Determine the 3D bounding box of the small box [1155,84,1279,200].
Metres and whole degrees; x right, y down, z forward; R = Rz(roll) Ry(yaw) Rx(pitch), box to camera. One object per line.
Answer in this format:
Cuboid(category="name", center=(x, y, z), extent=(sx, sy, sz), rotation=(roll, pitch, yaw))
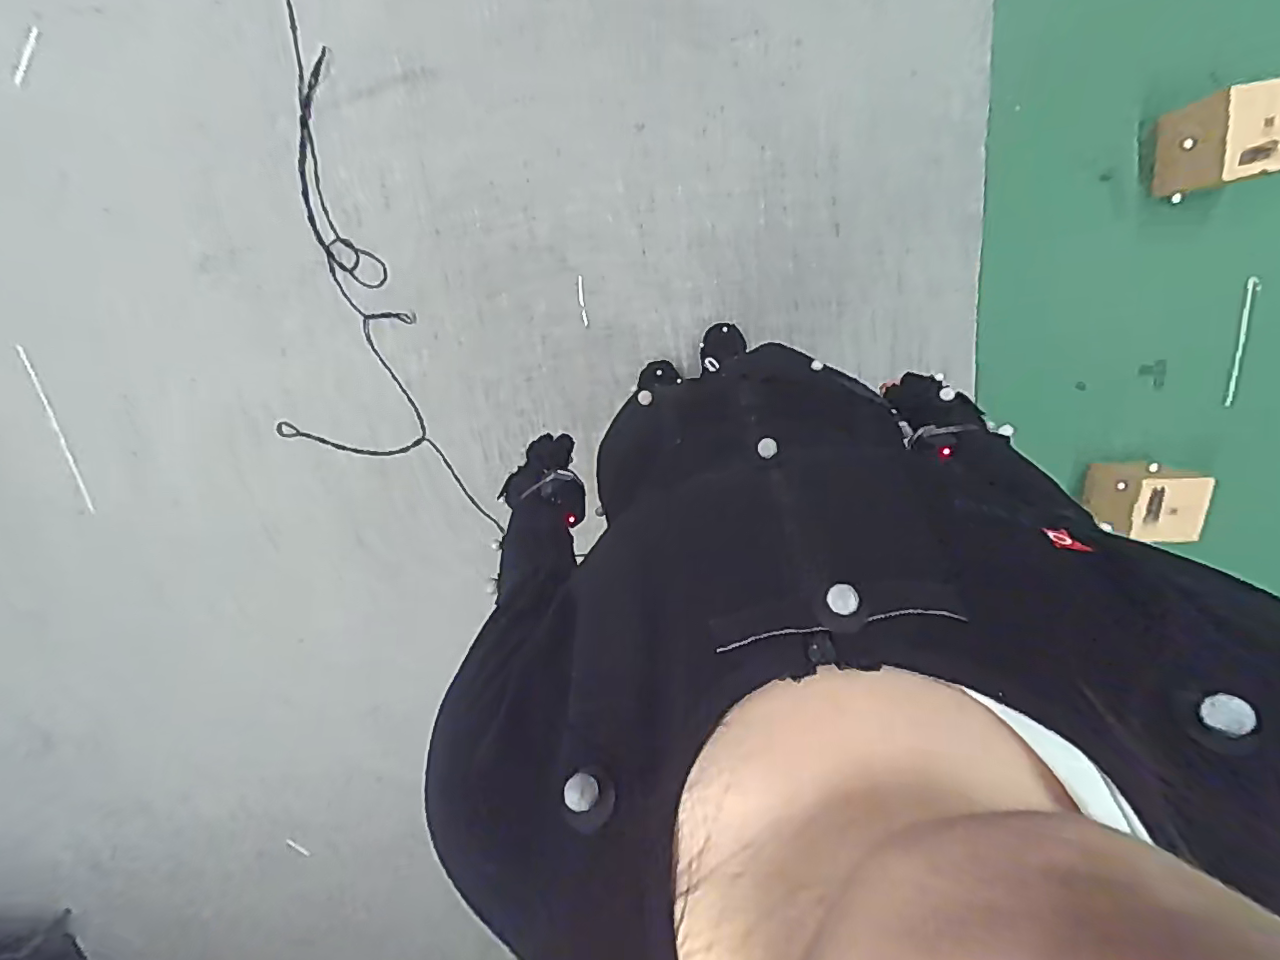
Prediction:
Cuboid(category="small box", center=(1.279, -0.727, 1.178), extent=(0.168, 0.176, 0.179), rotation=(-9, 104, 4))
